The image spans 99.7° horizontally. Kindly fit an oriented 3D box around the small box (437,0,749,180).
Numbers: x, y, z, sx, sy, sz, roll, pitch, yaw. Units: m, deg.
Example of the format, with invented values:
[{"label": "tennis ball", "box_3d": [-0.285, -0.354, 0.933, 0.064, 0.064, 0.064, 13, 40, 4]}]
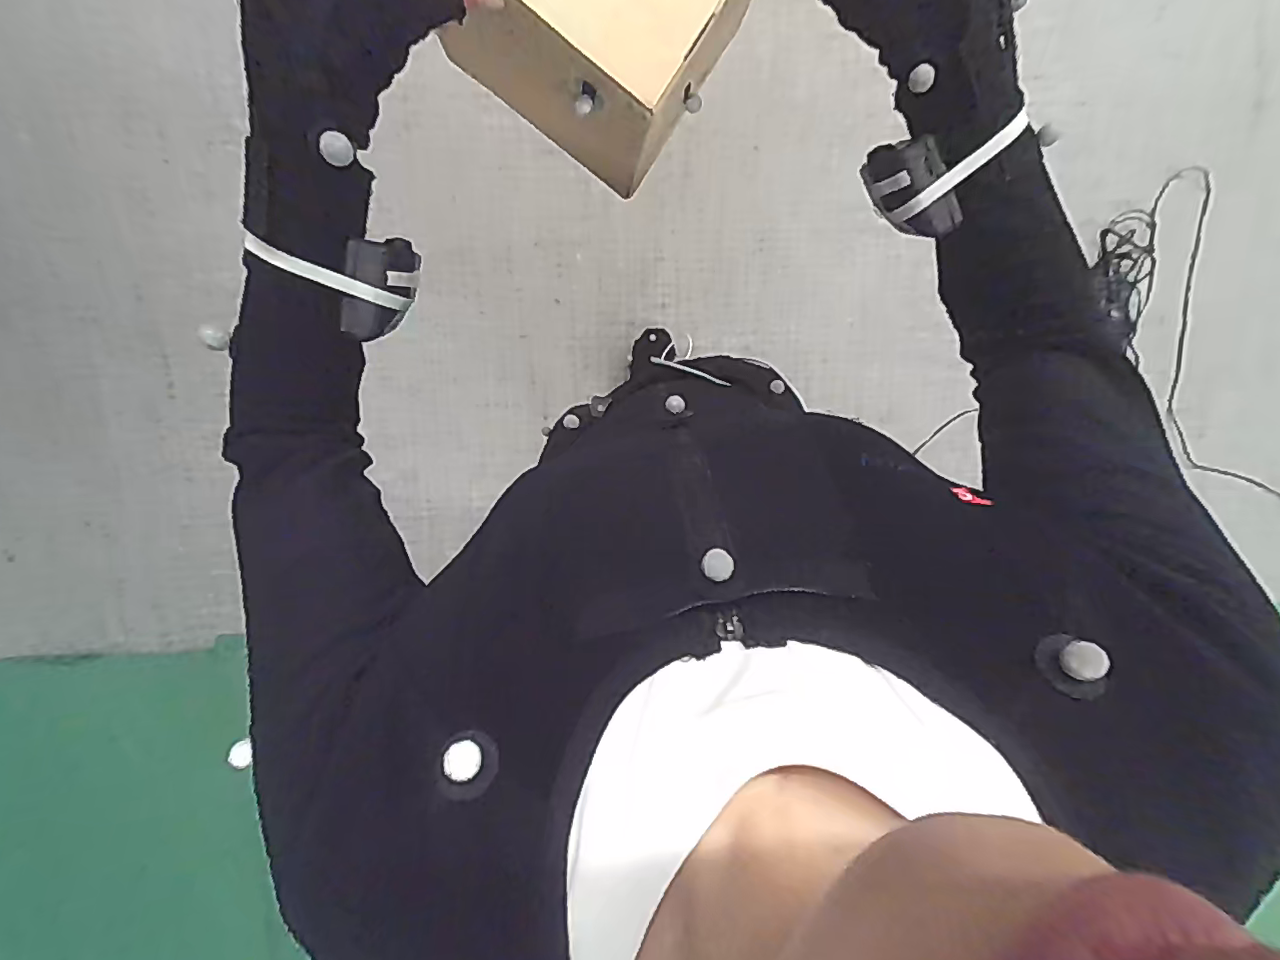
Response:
[{"label": "small box", "box_3d": [-0.027, -0.338, 0.355, 0.179, 0.176, 0.168, 34, 97, -14]}]
